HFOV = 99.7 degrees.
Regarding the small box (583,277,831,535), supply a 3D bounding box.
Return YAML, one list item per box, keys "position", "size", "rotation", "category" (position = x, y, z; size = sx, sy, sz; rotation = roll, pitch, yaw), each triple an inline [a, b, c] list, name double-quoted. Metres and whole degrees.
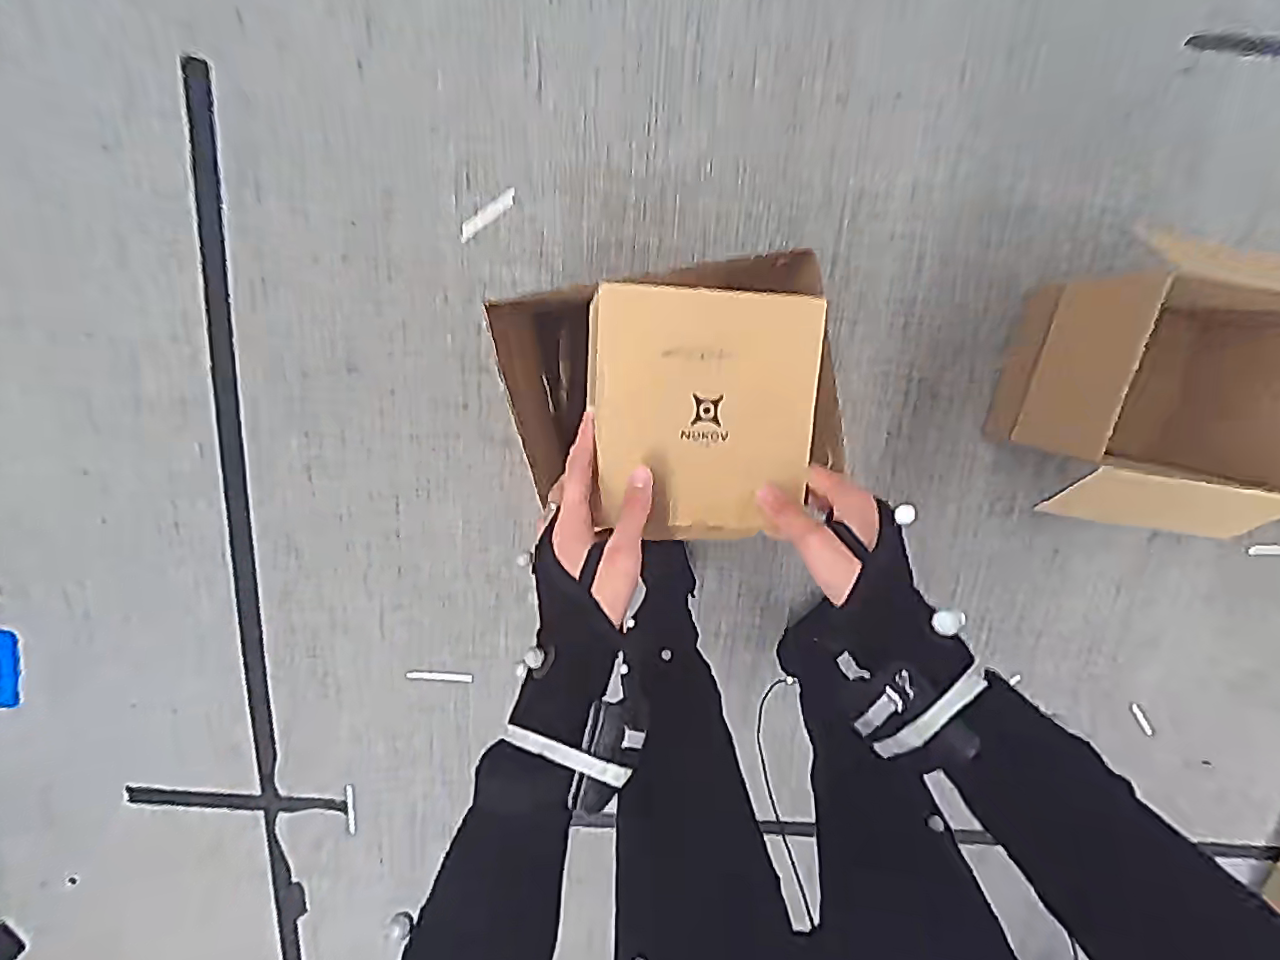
- position: [0.038, -0.064, 0.462]
  size: [0.168, 0.176, 0.179]
  rotation: [2, 102, -8]
  category: "small box"
